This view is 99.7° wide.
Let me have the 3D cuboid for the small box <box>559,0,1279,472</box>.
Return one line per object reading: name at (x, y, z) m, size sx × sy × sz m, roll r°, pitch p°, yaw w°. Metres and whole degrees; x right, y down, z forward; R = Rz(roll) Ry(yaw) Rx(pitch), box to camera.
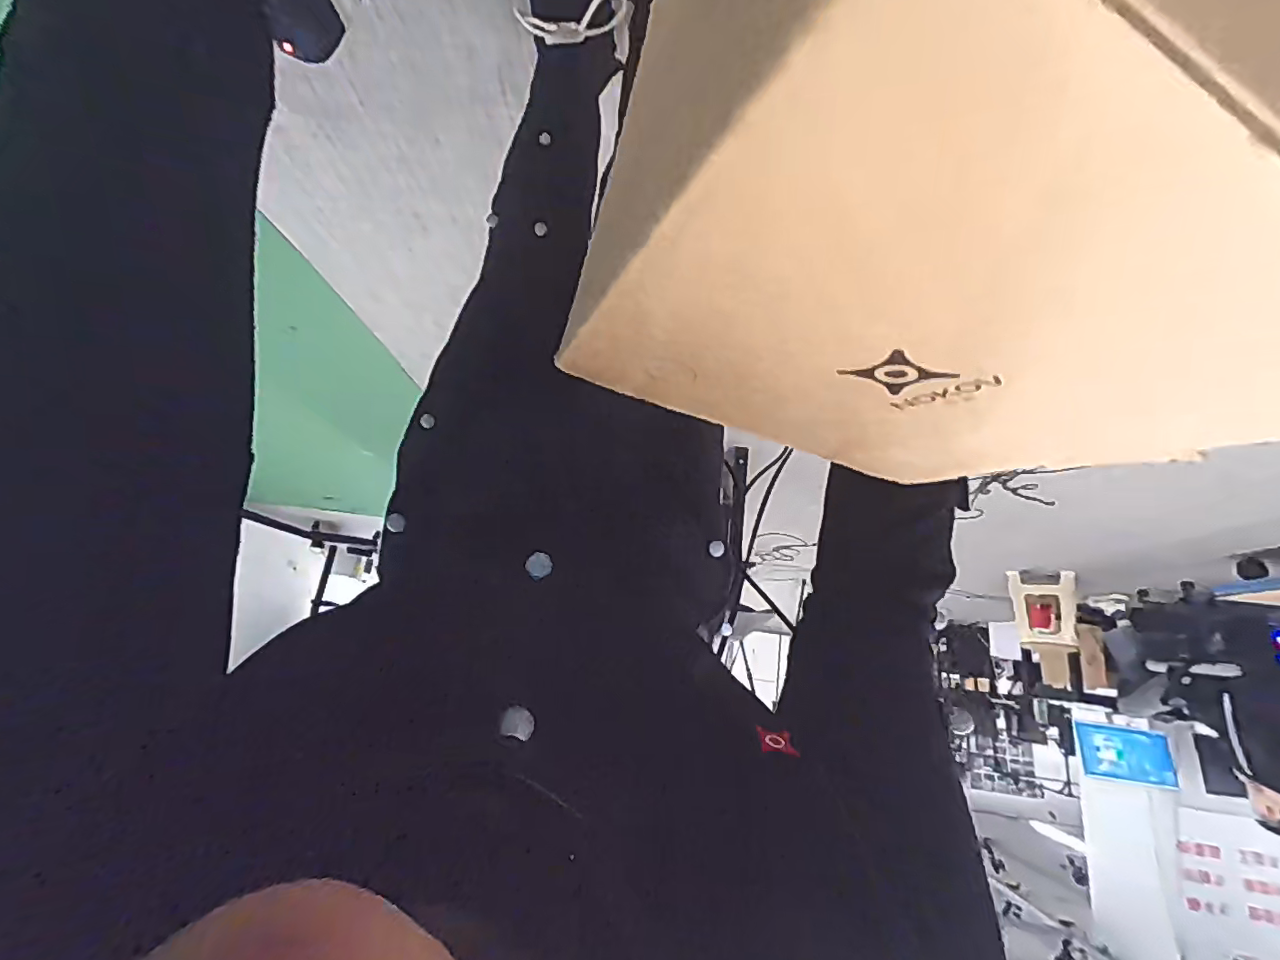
small box at (0.093, -0.113, 0.172) m, size 0.179 × 0.176 × 0.168 m, roll 15°, pitch 169°, yaw -19°
